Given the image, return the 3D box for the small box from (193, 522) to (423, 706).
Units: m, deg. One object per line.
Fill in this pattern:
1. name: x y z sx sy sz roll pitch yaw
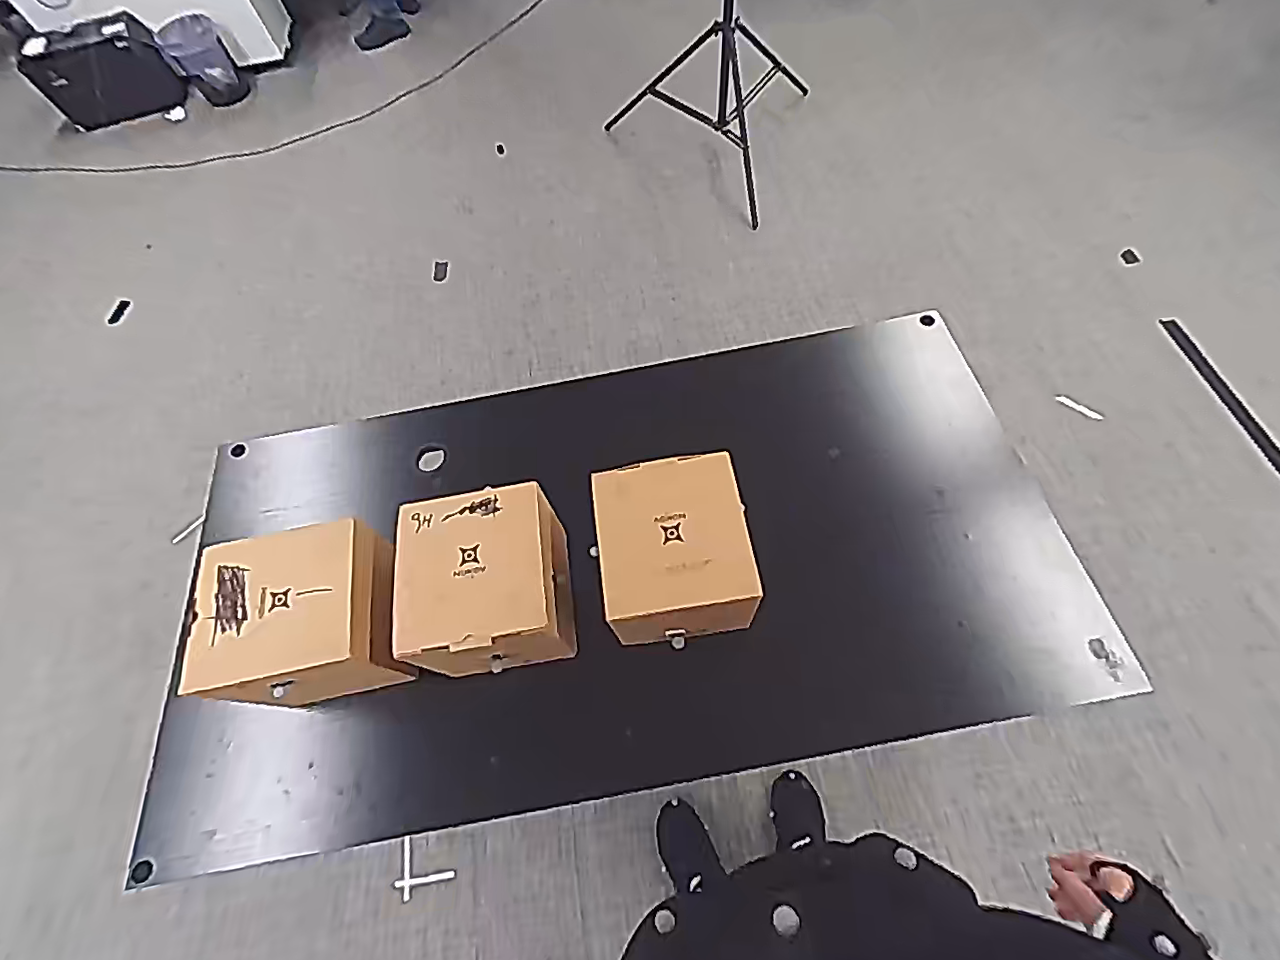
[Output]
1. small box: -0.391 0.174 0.672 0.179 0.176 0.168 -12 63 -2

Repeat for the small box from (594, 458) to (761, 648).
1. small box: 0.043 0.098 0.674 0.168 0.176 0.179 -11 64 2
